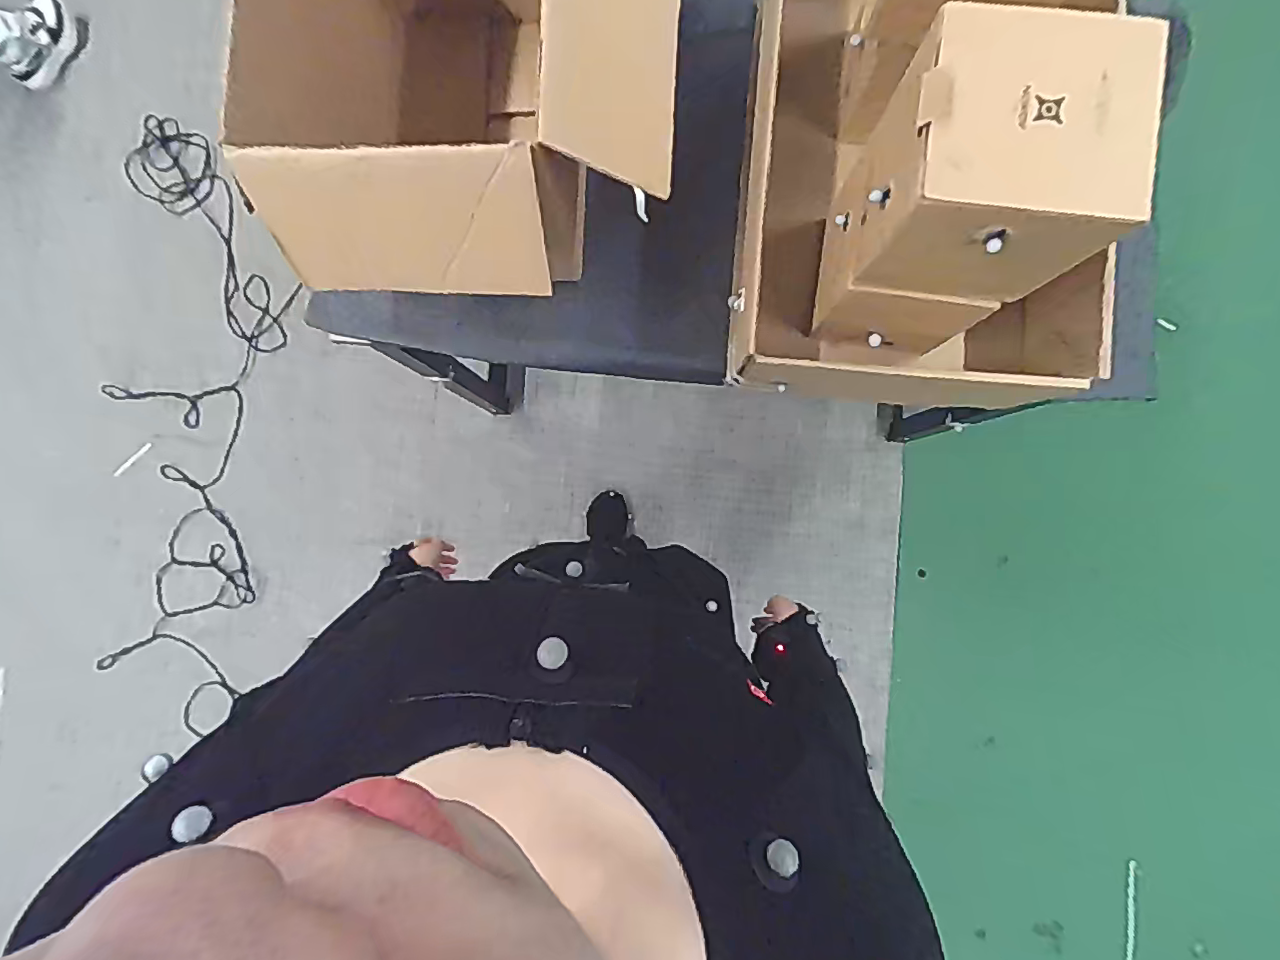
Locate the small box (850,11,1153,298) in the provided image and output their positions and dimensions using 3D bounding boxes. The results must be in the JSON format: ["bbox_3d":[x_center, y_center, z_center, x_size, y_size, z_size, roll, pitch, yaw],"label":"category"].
[{"bbox_3d":[0.319,-0.289,0.516,0.179,0.176,0.168,8,89,2],"label":"small box"}]

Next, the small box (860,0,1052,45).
[{"bbox_3d":[0.338,-0.558,0.525,0.179,0.176,0.168,12,89,2],"label":"small box"}]
